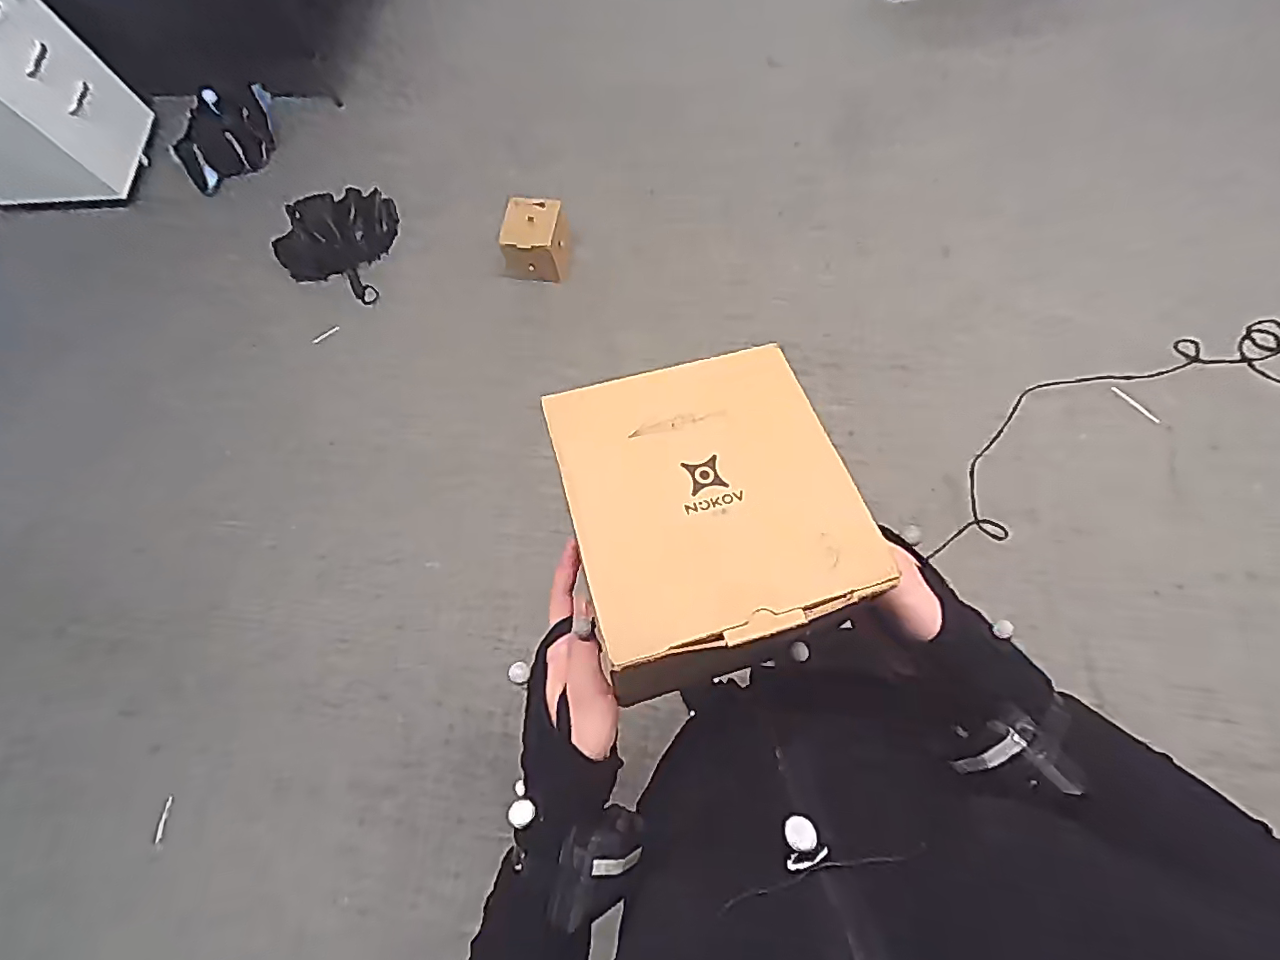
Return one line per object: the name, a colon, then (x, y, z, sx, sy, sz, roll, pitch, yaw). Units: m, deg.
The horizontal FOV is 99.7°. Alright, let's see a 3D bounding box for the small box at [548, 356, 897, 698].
small box: (0.040, 0.045, 0.391, 0.168, 0.176, 0.179, -14, 61, -9)
